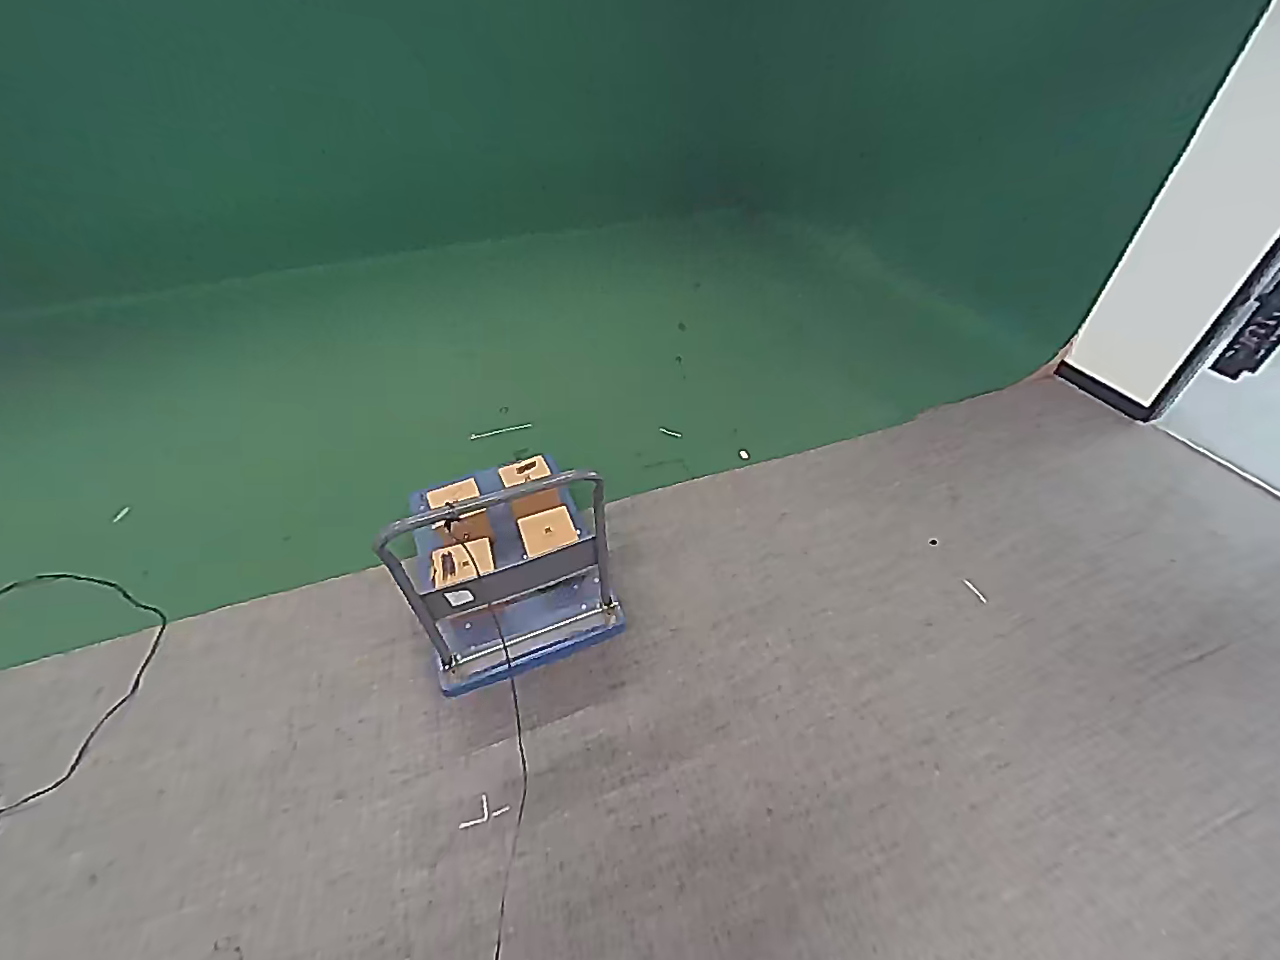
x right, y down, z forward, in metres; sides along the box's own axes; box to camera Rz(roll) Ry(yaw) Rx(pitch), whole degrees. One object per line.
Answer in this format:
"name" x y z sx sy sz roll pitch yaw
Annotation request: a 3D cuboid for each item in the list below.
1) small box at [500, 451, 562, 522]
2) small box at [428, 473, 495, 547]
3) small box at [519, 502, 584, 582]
"small box" -0.390 0.029 1.954 0.168 0.176 0.179 -20 49 -17
"small box" -0.616 0.111 1.878 0.168 0.176 0.179 -19 47 -18
"small box" -0.289 0.204 1.775 0.168 0.176 0.179 -16 47 -14
